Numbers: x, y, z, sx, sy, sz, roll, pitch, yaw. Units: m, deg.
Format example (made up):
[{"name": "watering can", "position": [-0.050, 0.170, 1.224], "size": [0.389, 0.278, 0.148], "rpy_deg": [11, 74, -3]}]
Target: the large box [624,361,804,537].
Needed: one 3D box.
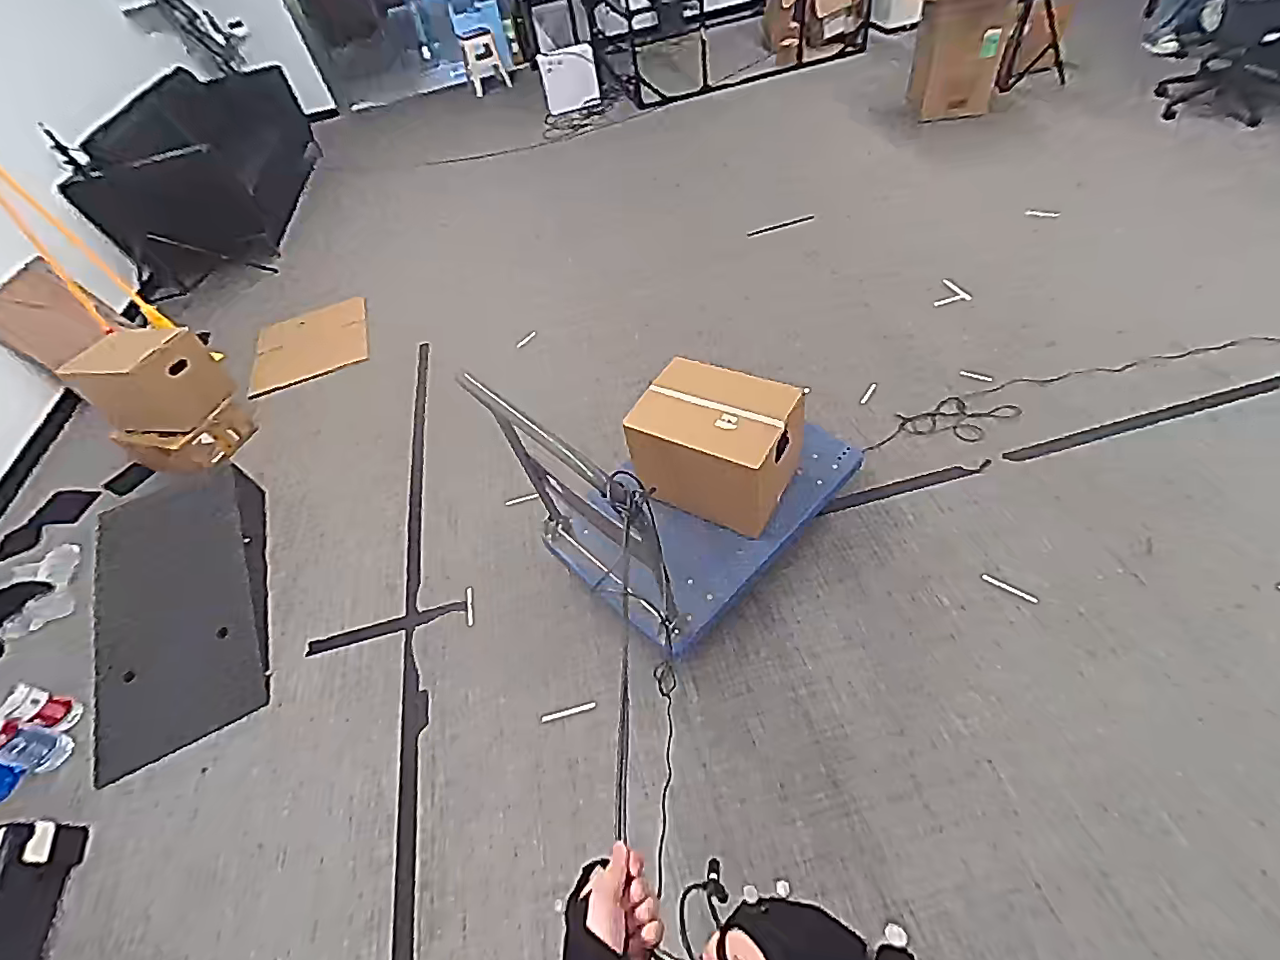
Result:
[{"name": "large box", "position": [0.216, -0.094, 1.566], "size": [0.408, 0.320, 0.320], "rpy_deg": [21, 58, 25]}]
